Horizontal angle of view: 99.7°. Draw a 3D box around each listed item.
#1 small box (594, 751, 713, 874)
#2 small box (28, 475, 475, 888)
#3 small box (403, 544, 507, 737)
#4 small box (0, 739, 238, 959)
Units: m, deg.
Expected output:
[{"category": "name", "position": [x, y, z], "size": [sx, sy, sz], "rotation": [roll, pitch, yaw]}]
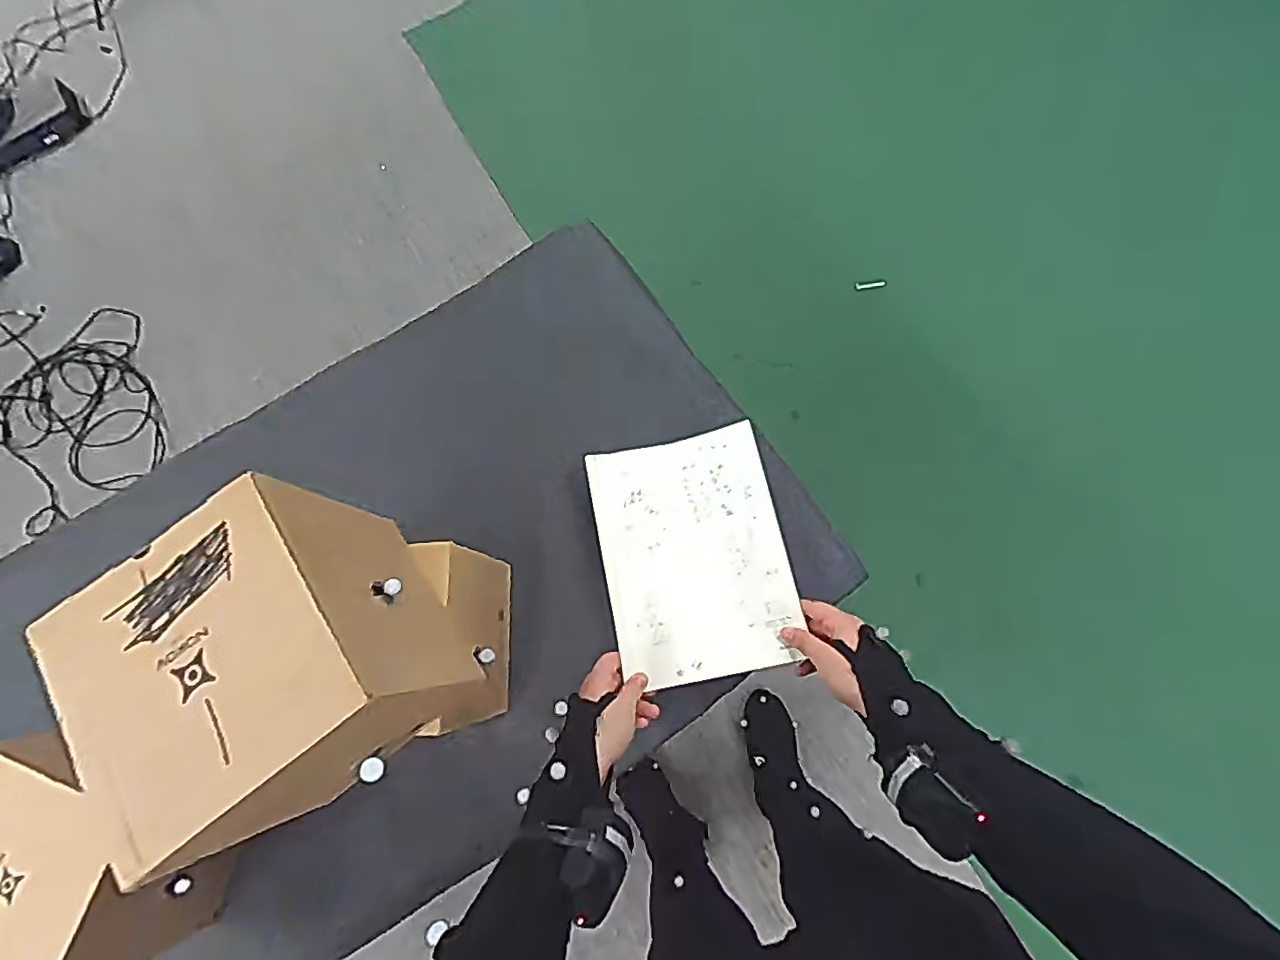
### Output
[{"category": "small box", "position": [0.033, 0.684, 1.121], "size": [0.176, 0.168, 0.179], "rotation": [28, 52, -16]}, {"category": "small box", "position": [-0.255, 0.129, 0.393], "size": [0.168, 0.176, 0.179], "rotation": [-37, 74, -3]}, {"category": "small box", "position": [-0.246, 0.161, 0.555], "size": [0.179, 0.176, 0.168], "rotation": [-5, 74, 6]}, {"category": "small box", "position": [-0.529, 0.356, 0.533], "size": [0.179, 0.176, 0.168], "rotation": [15, 76, 10]}]
